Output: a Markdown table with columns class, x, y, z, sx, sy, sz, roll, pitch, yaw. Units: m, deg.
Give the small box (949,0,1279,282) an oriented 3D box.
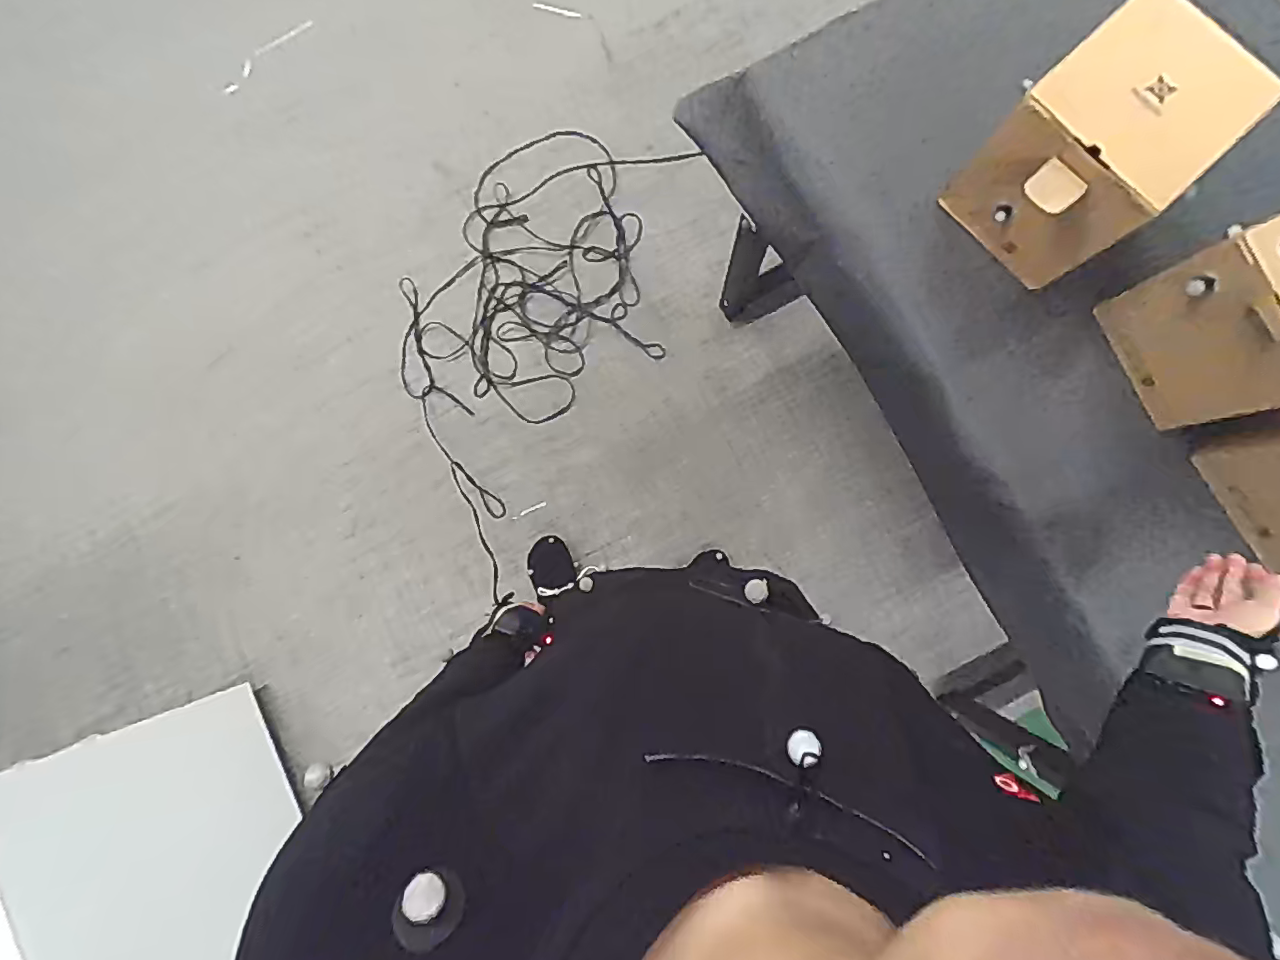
| class | x | y | z | sx | sy | sz | roll | pitch | yaw |
| --- | --- | --- | --- | --- | --- | --- | --- | --- | --- |
| small box | 0.483 | -0.355 | 0.581 | 0.179 | 0.176 | 0.168 | -43 | 85 | -2 |
